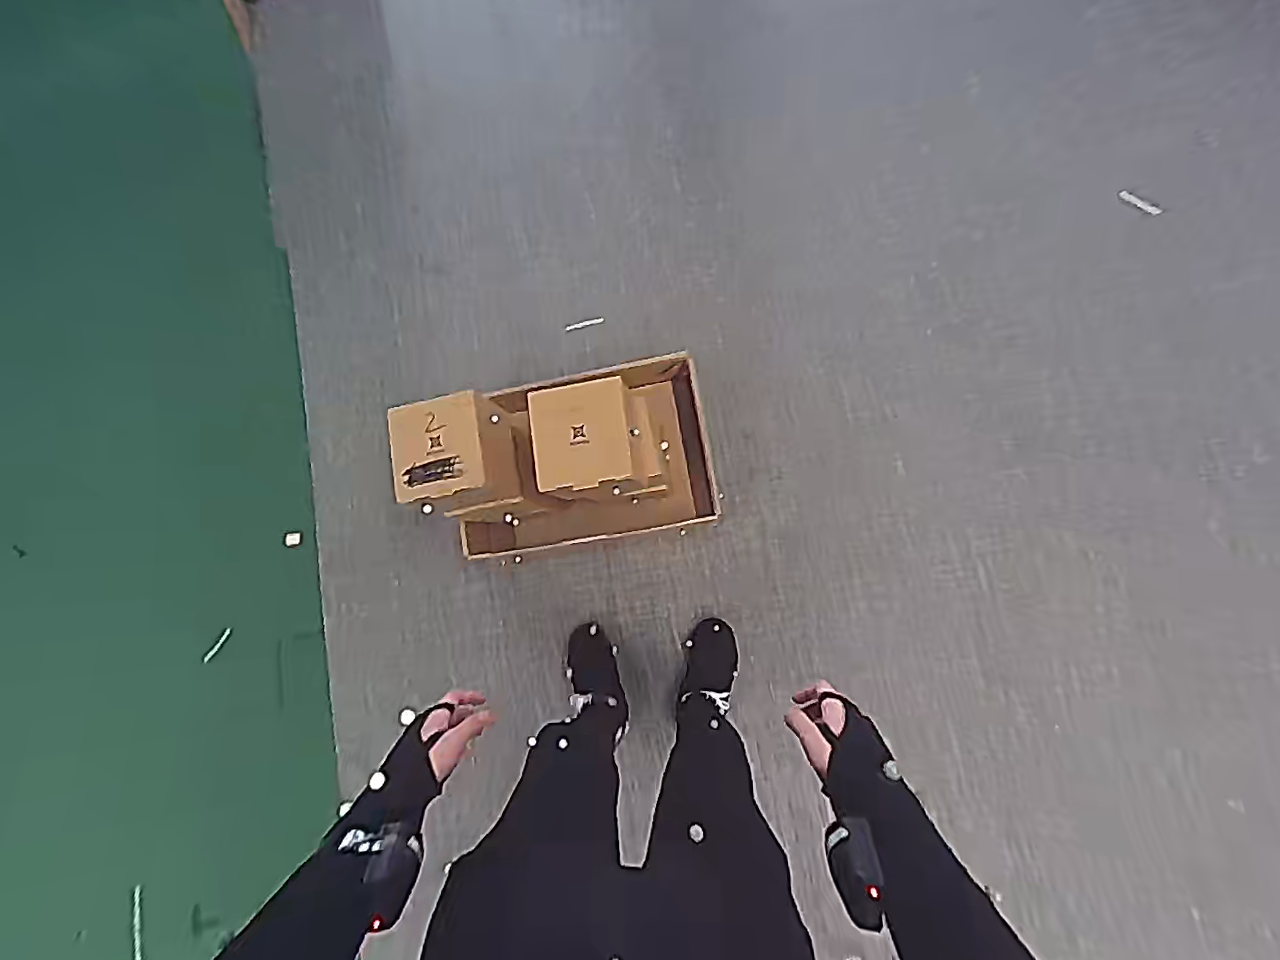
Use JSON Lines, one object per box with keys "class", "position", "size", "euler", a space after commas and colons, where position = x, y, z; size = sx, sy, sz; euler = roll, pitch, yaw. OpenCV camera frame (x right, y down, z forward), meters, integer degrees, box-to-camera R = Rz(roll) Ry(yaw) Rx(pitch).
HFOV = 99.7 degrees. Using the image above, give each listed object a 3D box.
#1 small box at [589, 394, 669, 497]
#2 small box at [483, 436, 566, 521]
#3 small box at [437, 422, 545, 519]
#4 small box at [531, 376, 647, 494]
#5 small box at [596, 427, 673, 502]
{"class": "small box", "position": [-0.045, -0.064, 1.138], "size": [0.179, 0.176, 0.168], "euler": [-13, 82, 7]}
{"class": "small box", "position": [-0.291, 0.003, 1.336], "size": [0.168, 0.176, 0.179], "euler": [-11, 82, 6]}
{"class": "small box", "position": [-0.314, -0.014, 1.172], "size": [0.179, 0.176, 0.168], "euler": [-11, 80, 5]}
{"class": "small box", "position": [-0.085, -0.071, 0.980], "size": [0.168, 0.176, 0.179], "euler": [-8, 82, 7]}
{"class": "small box", "position": [-0.019, -0.044, 1.300], "size": [0.168, 0.176, 0.179], "euler": [-9, 81, 8]}
